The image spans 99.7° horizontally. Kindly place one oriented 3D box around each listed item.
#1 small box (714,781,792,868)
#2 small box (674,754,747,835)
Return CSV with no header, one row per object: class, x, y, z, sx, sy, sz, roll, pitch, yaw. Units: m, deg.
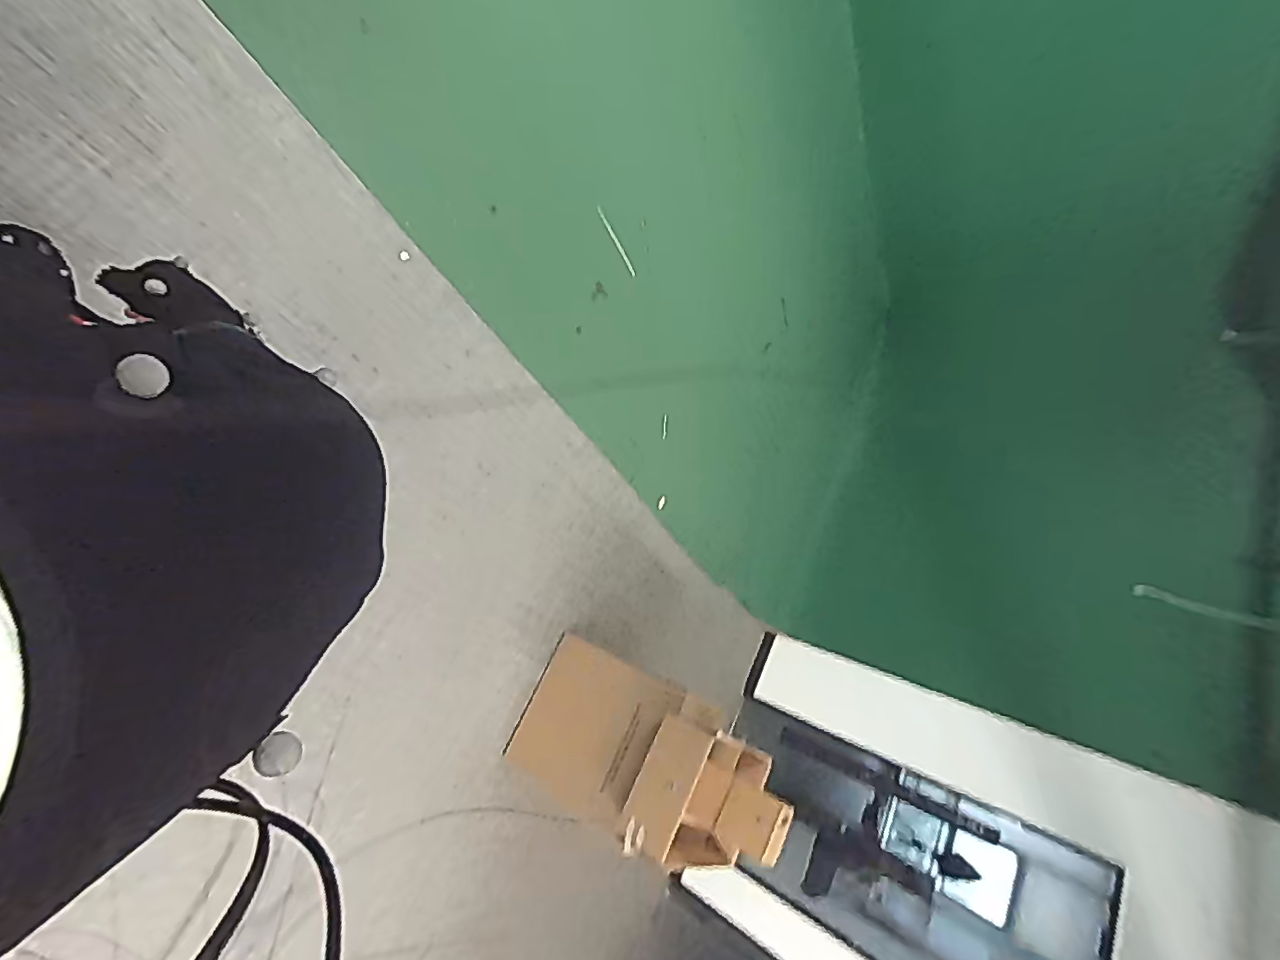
small box,0.359,1.092,1.720,0.179,0.176,0.168,-60,140,-19
small box,0.233,1.062,1.821,0.179,0.176,0.168,-62,142,-17
